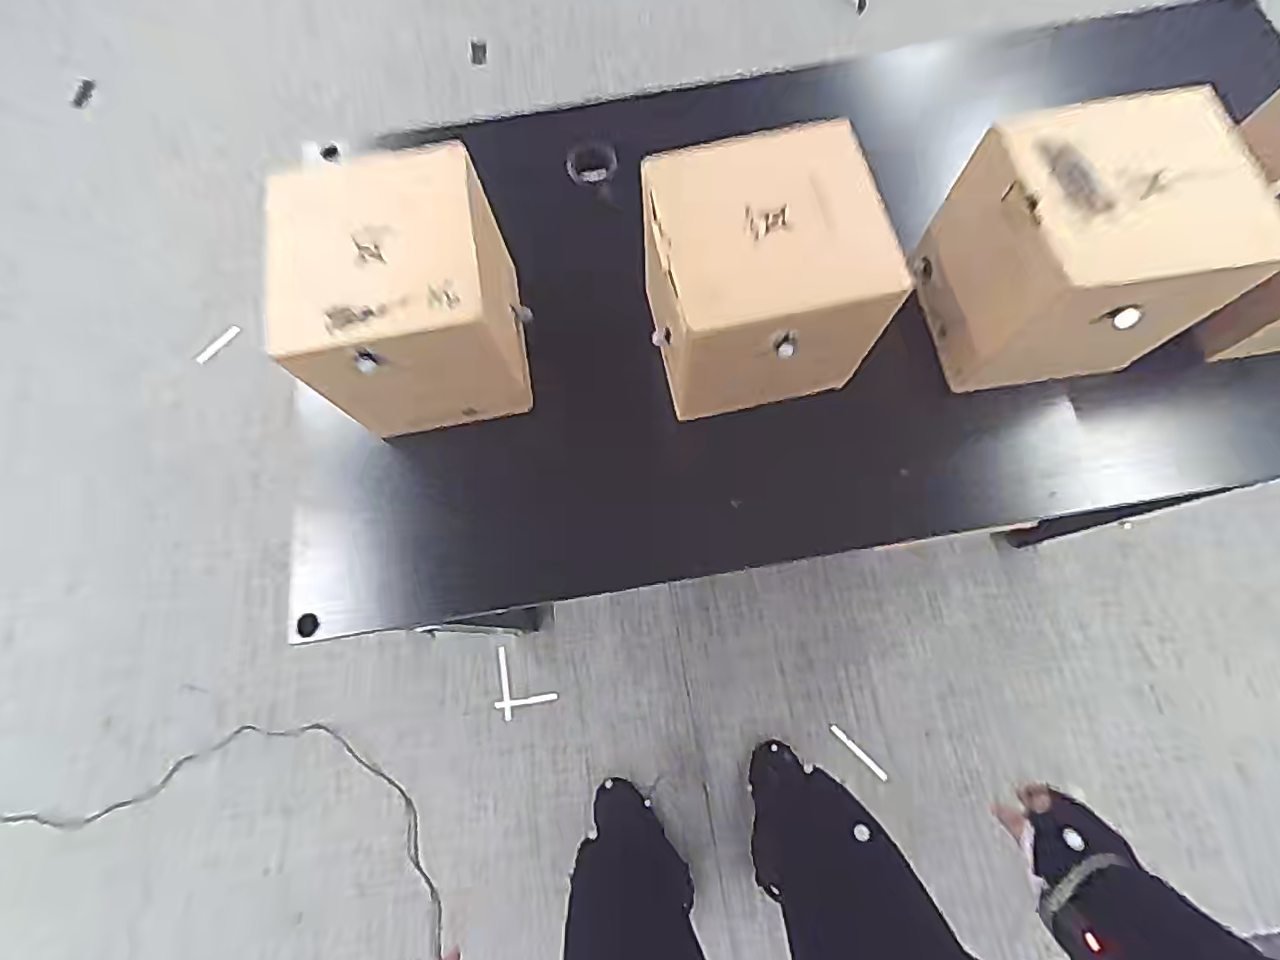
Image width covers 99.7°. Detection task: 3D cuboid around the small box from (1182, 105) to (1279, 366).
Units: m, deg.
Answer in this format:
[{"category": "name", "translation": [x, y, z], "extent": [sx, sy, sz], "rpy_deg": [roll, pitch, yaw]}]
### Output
[{"category": "small box", "translation": [0.624, -0.228, 0.488], "extent": [0.168, 0.176, 0.179], "rpy_deg": [-8, 72, 1]}]

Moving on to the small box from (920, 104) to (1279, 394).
[{"category": "small box", "translation": [0.381, -0.192, 0.490], "extent": [0.179, 0.176, 0.168], "rpy_deg": [-7, 72, 1]}]

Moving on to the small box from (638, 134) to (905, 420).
[{"category": "small box", "translation": [0.102, -0.170, 0.500], "extent": [0.179, 0.176, 0.168], "rpy_deg": [-12, 74, -2]}]

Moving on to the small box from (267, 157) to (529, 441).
[{"category": "small box", "translation": [-0.209, -0.157, 0.508], "extent": [0.168, 0.176, 0.179], "rpy_deg": [-10, 72, -1]}]
